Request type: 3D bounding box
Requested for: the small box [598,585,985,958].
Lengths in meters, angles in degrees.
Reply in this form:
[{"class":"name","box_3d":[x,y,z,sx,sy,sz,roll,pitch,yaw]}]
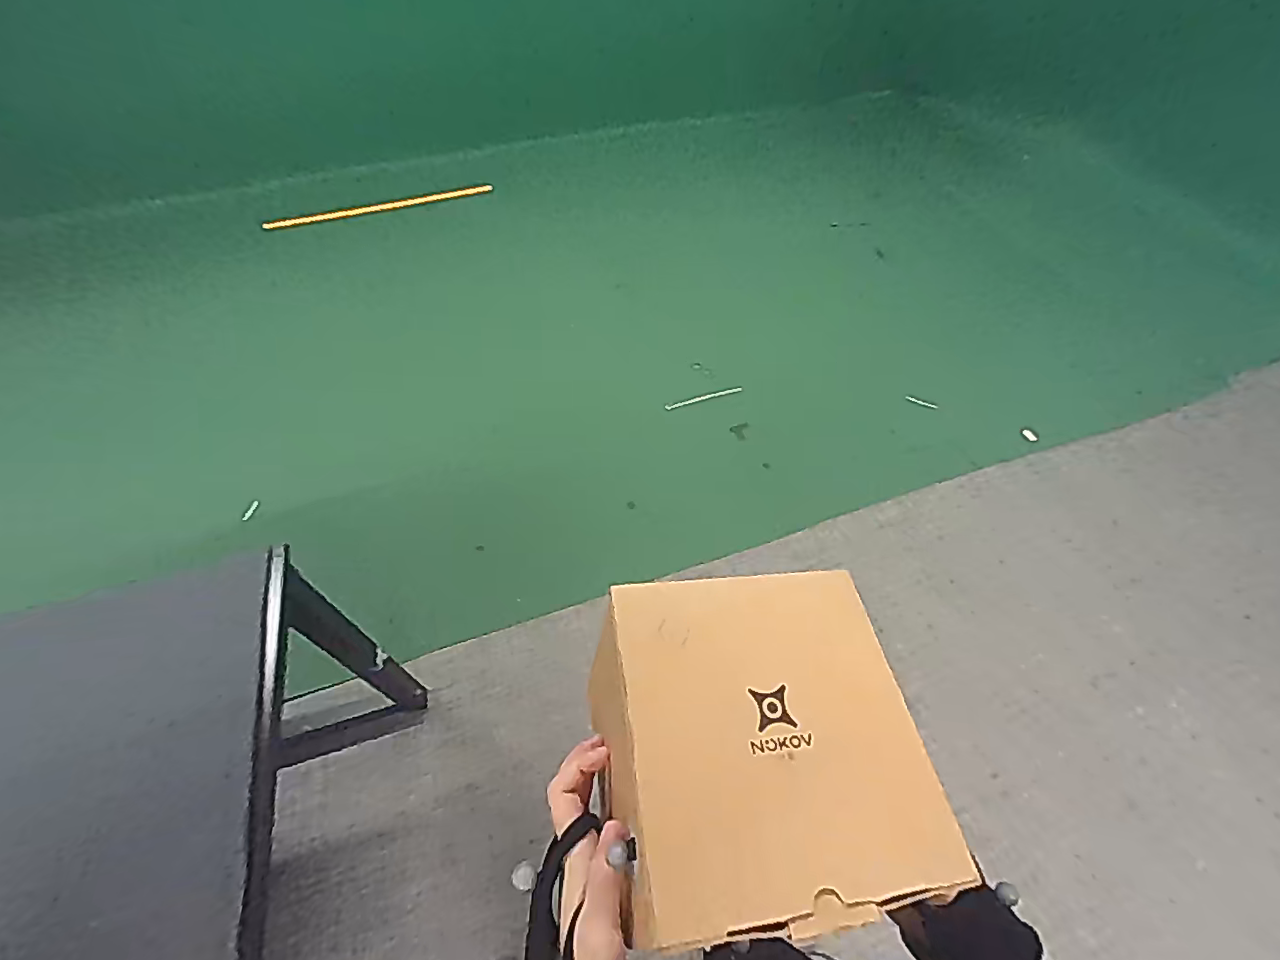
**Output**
[{"class":"small box","box_3d":[0.067,0.189,0.361,0.168,0.176,0.179,-1,52,-13]}]
